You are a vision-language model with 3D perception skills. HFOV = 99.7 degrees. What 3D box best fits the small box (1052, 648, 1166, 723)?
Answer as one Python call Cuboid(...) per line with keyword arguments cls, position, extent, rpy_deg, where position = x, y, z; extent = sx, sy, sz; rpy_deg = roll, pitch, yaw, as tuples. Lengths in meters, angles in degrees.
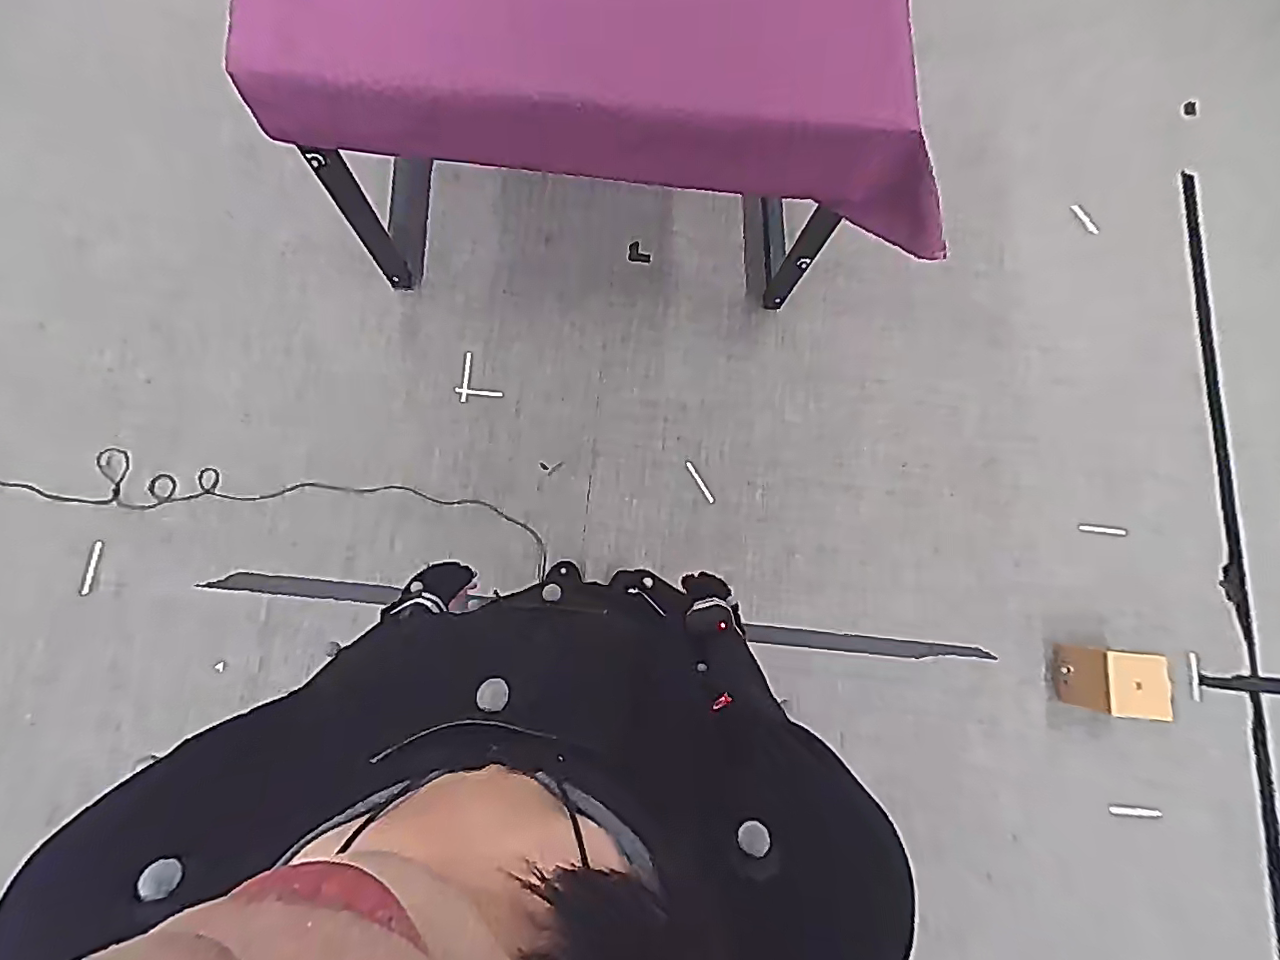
Cuboid(cls="small box", position=(1.306, 0.569, 1.516), extent=(0.179, 0.176, 0.168), rpy_deg=(6, 78, -3))
